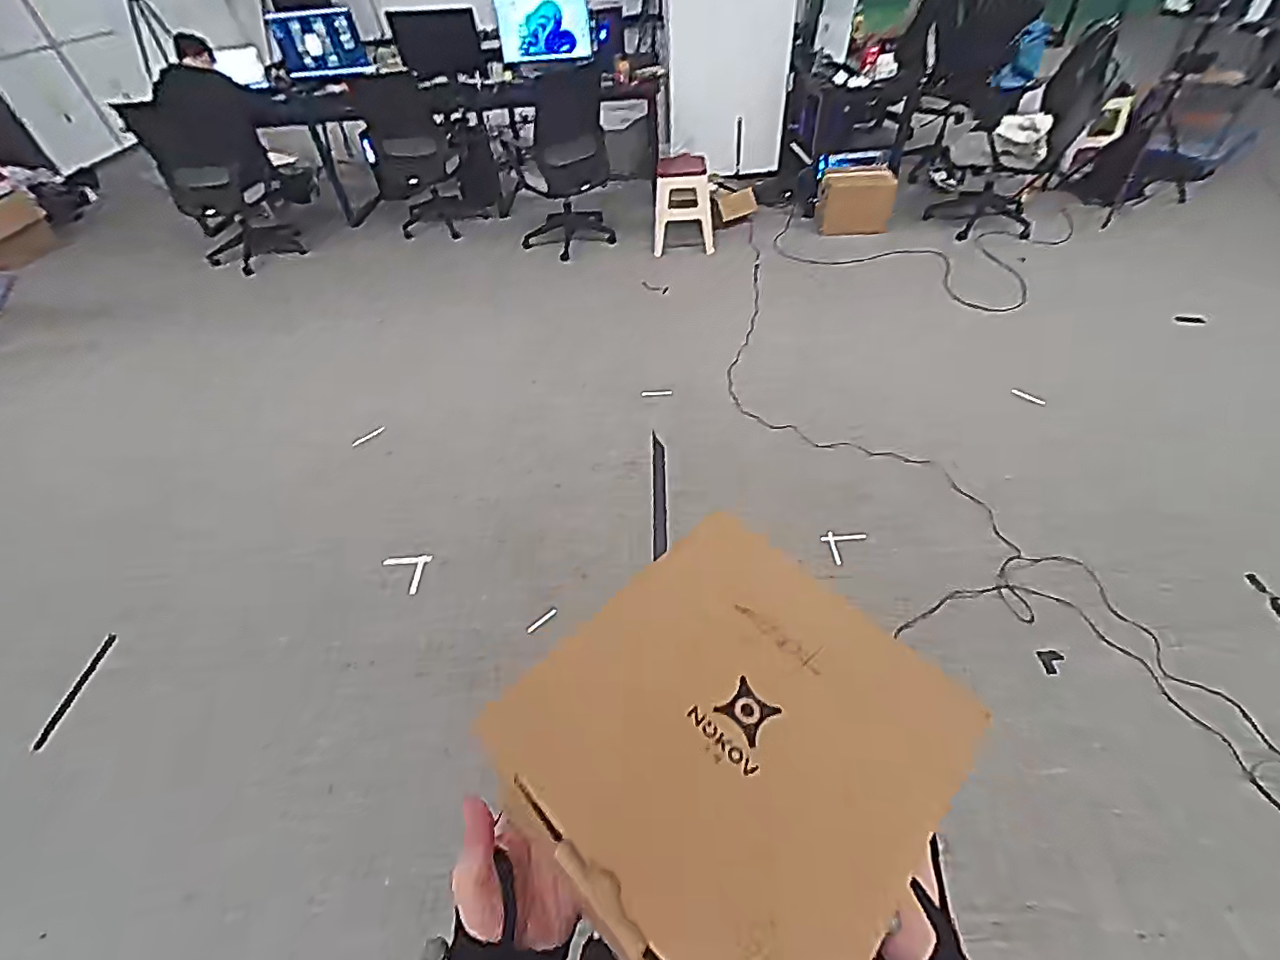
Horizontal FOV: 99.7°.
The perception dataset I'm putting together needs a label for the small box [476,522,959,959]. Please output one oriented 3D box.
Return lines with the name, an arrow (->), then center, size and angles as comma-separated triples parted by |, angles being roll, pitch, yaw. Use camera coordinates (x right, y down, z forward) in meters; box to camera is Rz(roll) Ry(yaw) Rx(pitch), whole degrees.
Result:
small box -> 0.035, 0.166, 0.313 | 0.168, 0.176, 0.179 | 38, 54, 23
